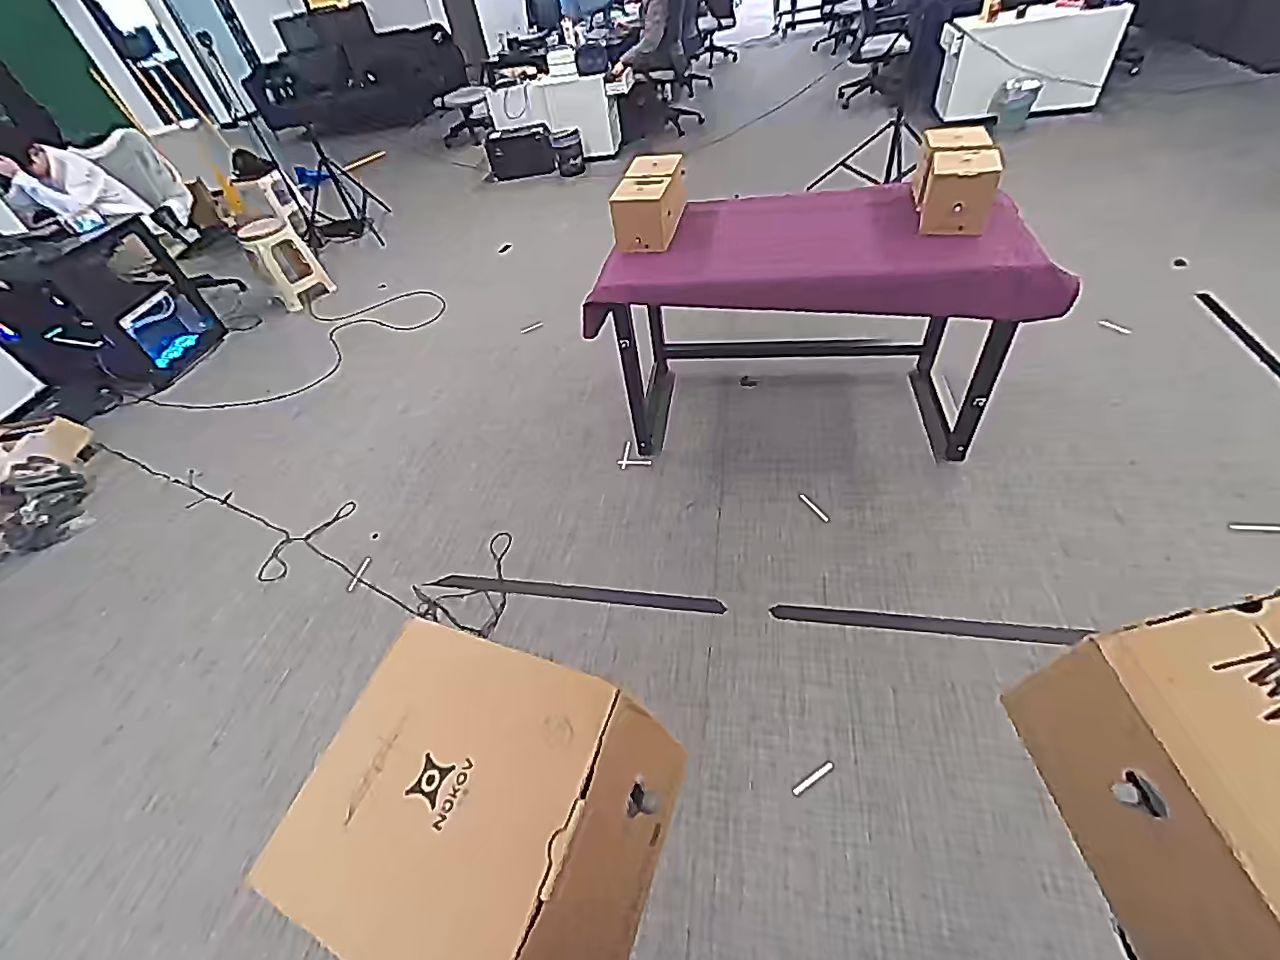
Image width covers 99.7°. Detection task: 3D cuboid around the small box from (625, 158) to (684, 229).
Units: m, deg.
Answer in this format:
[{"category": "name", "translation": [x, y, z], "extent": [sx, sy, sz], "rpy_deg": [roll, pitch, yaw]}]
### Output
[{"category": "small box", "translation": [0.057, -0.990, 1.871], "extent": [0.168, 0.176, 0.179], "rpy_deg": [5, 49, 15]}]

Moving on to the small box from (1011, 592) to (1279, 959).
[{"category": "small box", "translation": [0.363, 0.179, 0.314], "extent": [0.168, 0.176, 0.179], "rpy_deg": [-16, 56, 5]}]

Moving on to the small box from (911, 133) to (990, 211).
[{"category": "small box", "translation": [0.954, -0.954, 1.678], "extent": [0.168, 0.176, 0.179], "rpy_deg": [5, 48, 14]}]

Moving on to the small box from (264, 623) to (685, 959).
[{"category": "small box", "translation": [-0.084, 0.223, 0.365], "extent": [0.179, 0.176, 0.168], "rpy_deg": [7, 55, 27]}]
